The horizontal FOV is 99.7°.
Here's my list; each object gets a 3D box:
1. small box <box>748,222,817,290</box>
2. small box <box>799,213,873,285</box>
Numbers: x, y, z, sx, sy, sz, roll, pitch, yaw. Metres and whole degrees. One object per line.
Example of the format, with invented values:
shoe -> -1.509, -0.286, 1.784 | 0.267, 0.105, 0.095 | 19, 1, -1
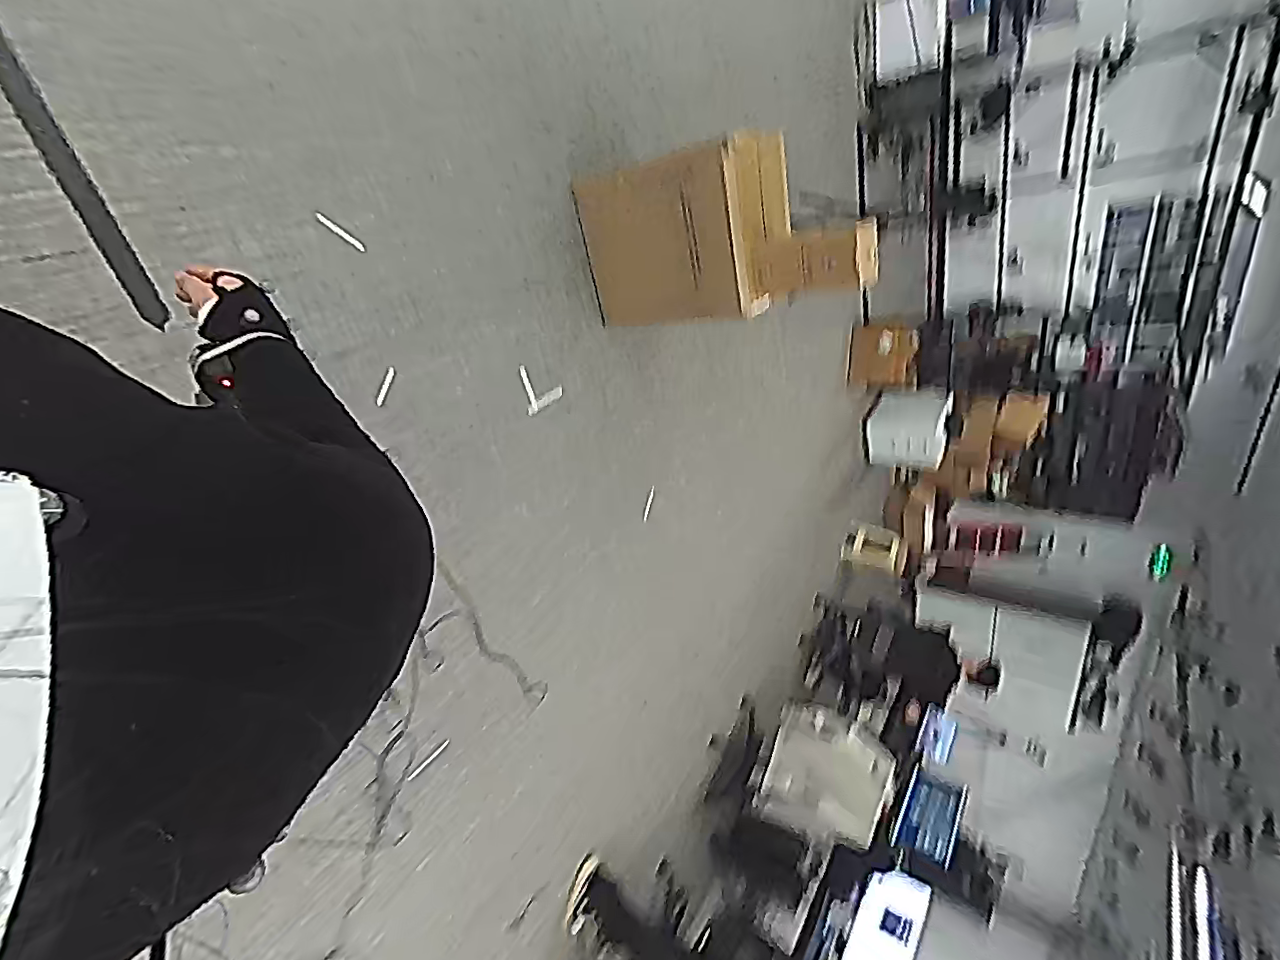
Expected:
small box -> 0.471, -0.729, 1.763 | 0.179, 0.176, 0.168 | -38, 124, -39
small box -> 0.600, -0.707, 1.664 | 0.179, 0.176, 0.168 | -37, 123, -40
